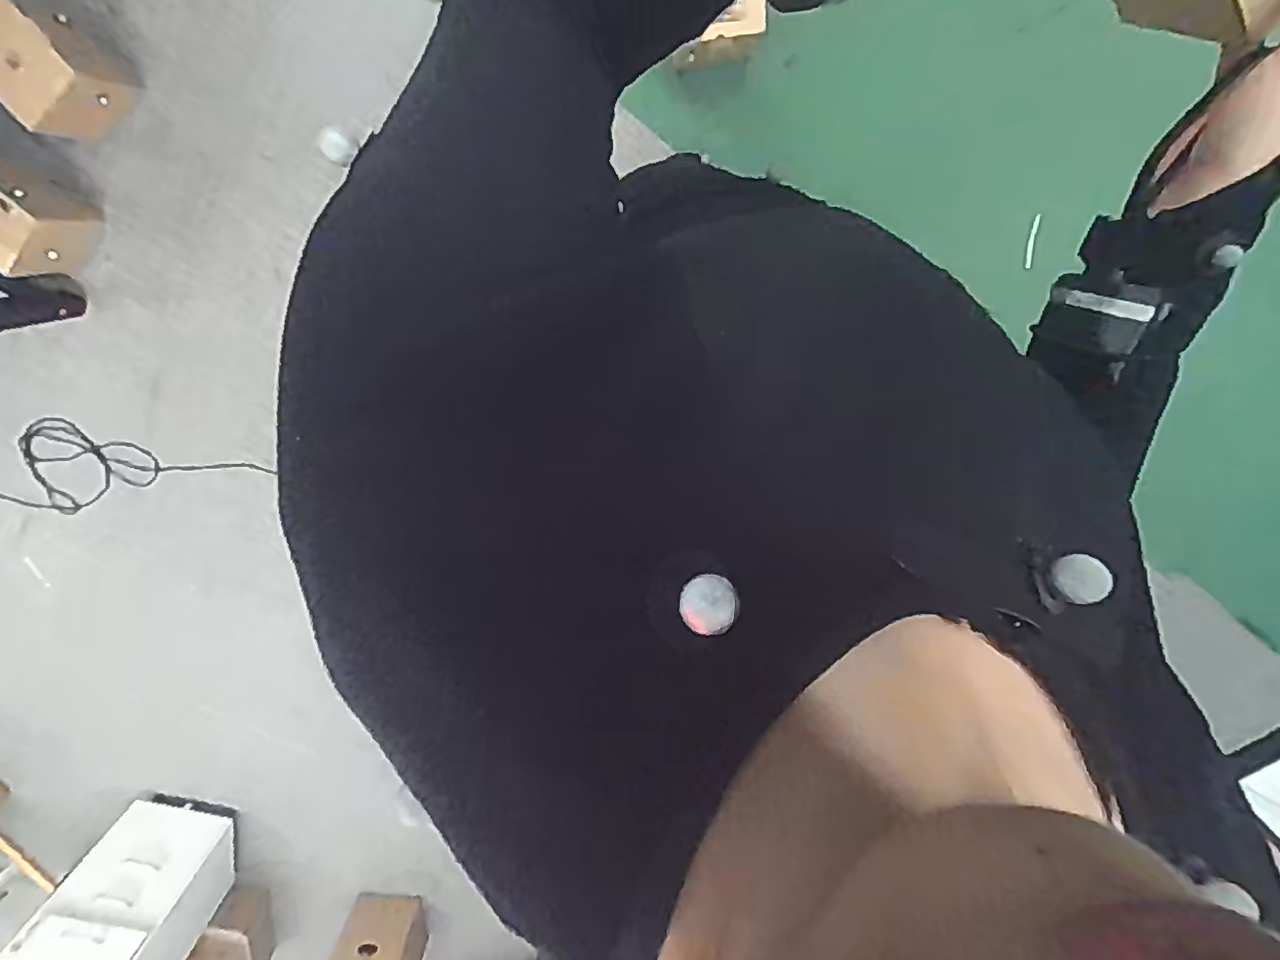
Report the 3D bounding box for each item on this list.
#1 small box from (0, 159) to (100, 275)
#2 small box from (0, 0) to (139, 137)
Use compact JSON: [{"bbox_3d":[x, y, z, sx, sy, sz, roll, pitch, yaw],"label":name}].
[{"bbox_3d":[-1.412,-0.600,1.236,0.179,0.176,0.168,-38,110,19],"label":"small box"},{"bbox_3d":[-1.197,-0.841,1.108,0.179,0.176,0.168,-30,111,17],"label":"small box"}]
